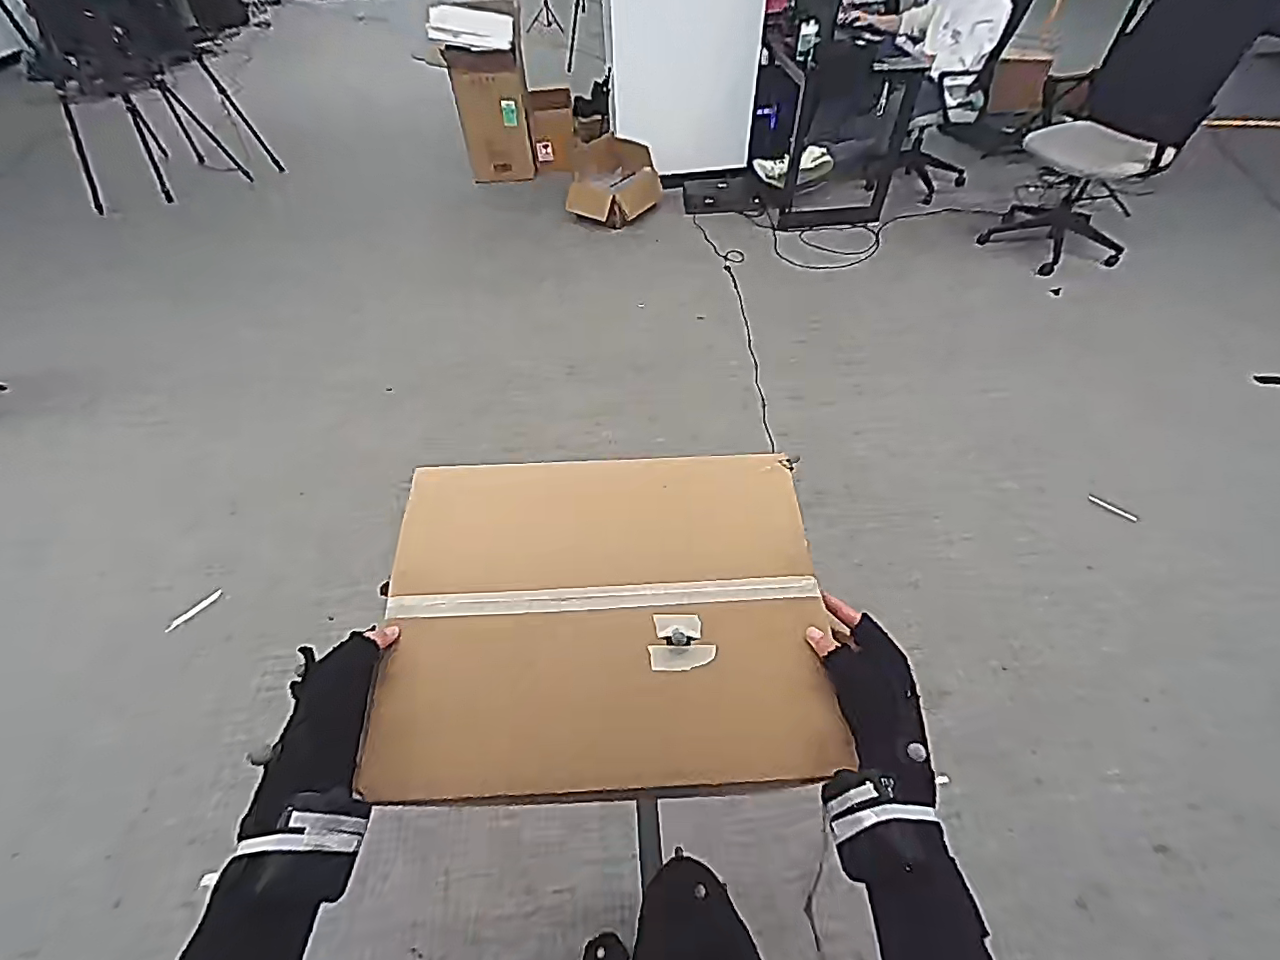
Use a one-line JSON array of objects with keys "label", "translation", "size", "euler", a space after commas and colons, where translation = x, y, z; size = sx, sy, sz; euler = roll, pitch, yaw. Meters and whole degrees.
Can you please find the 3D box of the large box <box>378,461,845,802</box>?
[{"label": "large box", "translation": [-0.031, 0.196, 0.656], "size": [0.408, 0.320, 0.320], "euler": [-2, 59, -2]}]
